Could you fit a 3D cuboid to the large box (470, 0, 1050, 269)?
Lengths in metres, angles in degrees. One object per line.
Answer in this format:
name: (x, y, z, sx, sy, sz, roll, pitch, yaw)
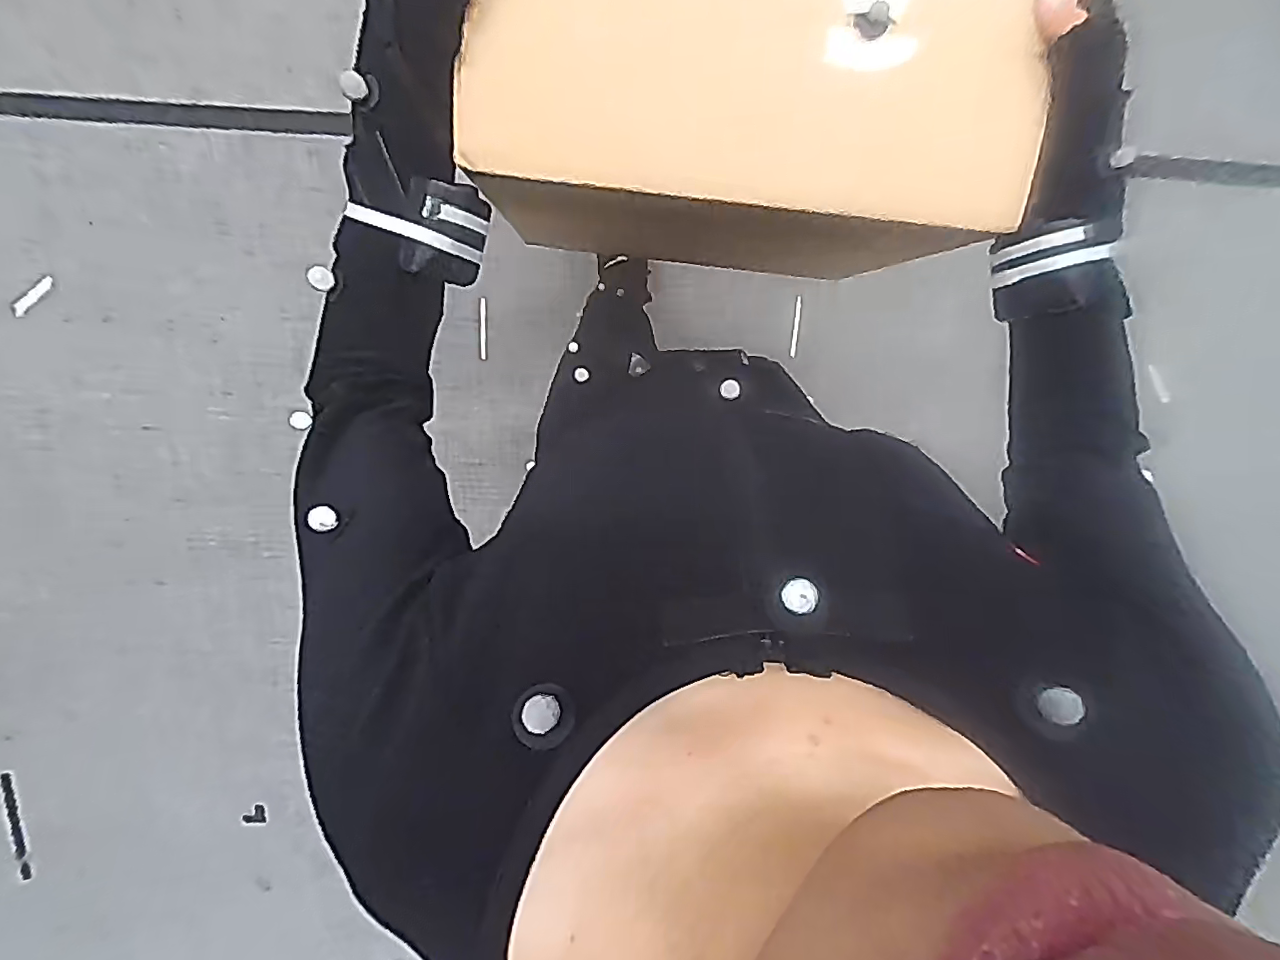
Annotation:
large box: (0.078, -0.395, 0.503, 0.408, 0.320, 0.320, 4, 104, -5)
